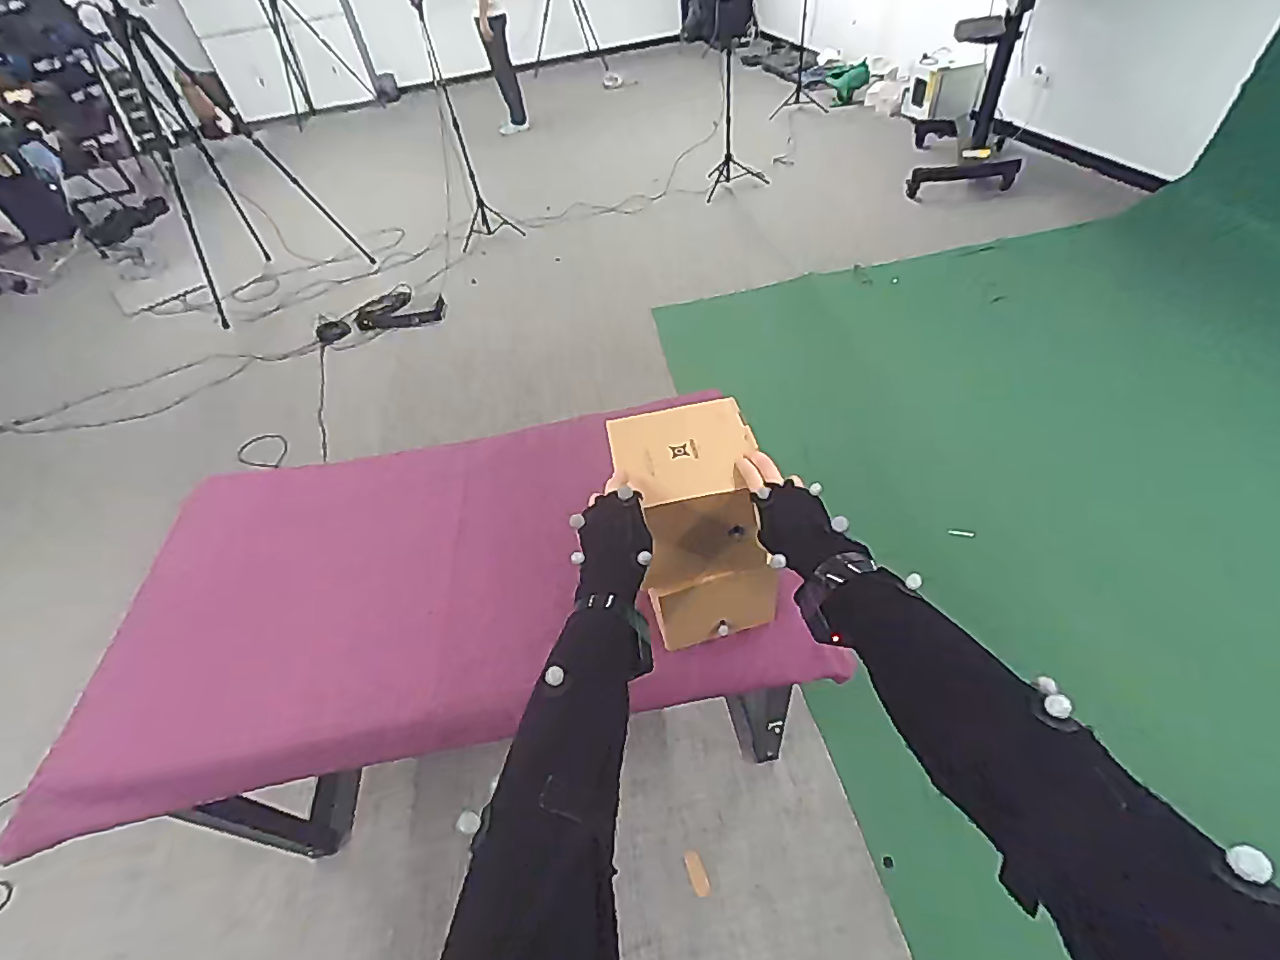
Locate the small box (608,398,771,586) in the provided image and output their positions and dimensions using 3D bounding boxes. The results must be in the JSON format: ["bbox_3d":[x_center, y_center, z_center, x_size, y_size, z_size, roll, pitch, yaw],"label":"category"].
[{"bbox_3d":[0.062,0.019,0.719,0.179,0.176,0.168,-11,46,0],"label":"small box"}]

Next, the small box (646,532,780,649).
[{"bbox_3d":[0.096,0.132,0.831,0.179,0.176,0.168,-15,46,-4],"label":"small box"}]
